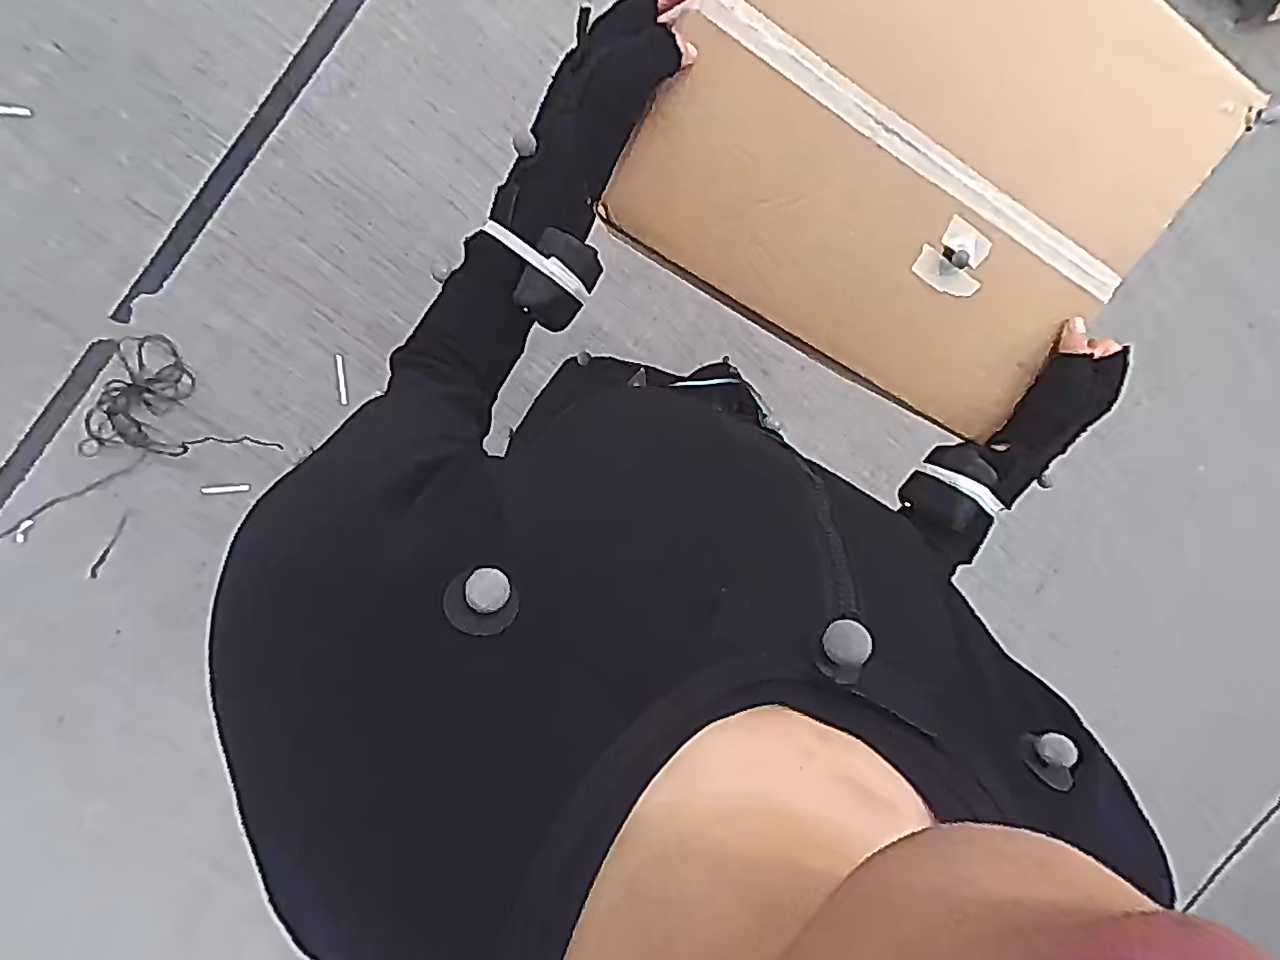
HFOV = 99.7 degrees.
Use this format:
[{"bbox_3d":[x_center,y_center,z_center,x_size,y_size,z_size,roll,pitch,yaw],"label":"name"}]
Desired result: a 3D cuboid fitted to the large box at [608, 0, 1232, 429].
[{"bbox_3d":[0.209,-0.311,0.560,0.408,0.320,0.320,27,110,-13],"label":"large box"}]
